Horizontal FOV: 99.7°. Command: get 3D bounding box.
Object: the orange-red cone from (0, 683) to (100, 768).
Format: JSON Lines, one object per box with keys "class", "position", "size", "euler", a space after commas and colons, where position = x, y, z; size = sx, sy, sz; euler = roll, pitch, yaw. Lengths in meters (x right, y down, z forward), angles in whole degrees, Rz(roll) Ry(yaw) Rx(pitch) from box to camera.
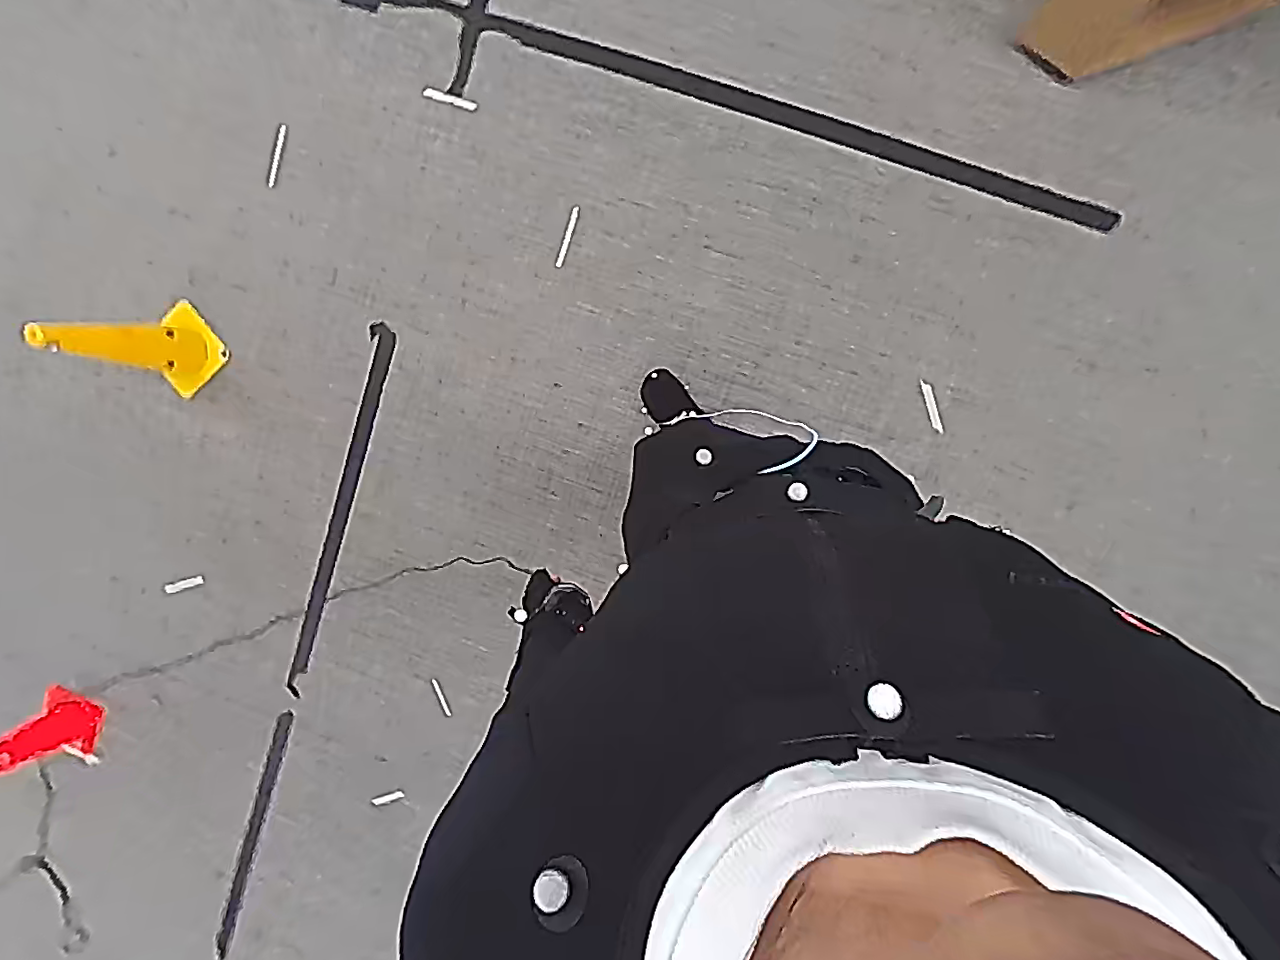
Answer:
{"class": "orange-red cone", "position": [-1.865, 0.792, 1.574], "size": [0.198, 0.360, 0.199], "euler": [28, 99, 1]}
